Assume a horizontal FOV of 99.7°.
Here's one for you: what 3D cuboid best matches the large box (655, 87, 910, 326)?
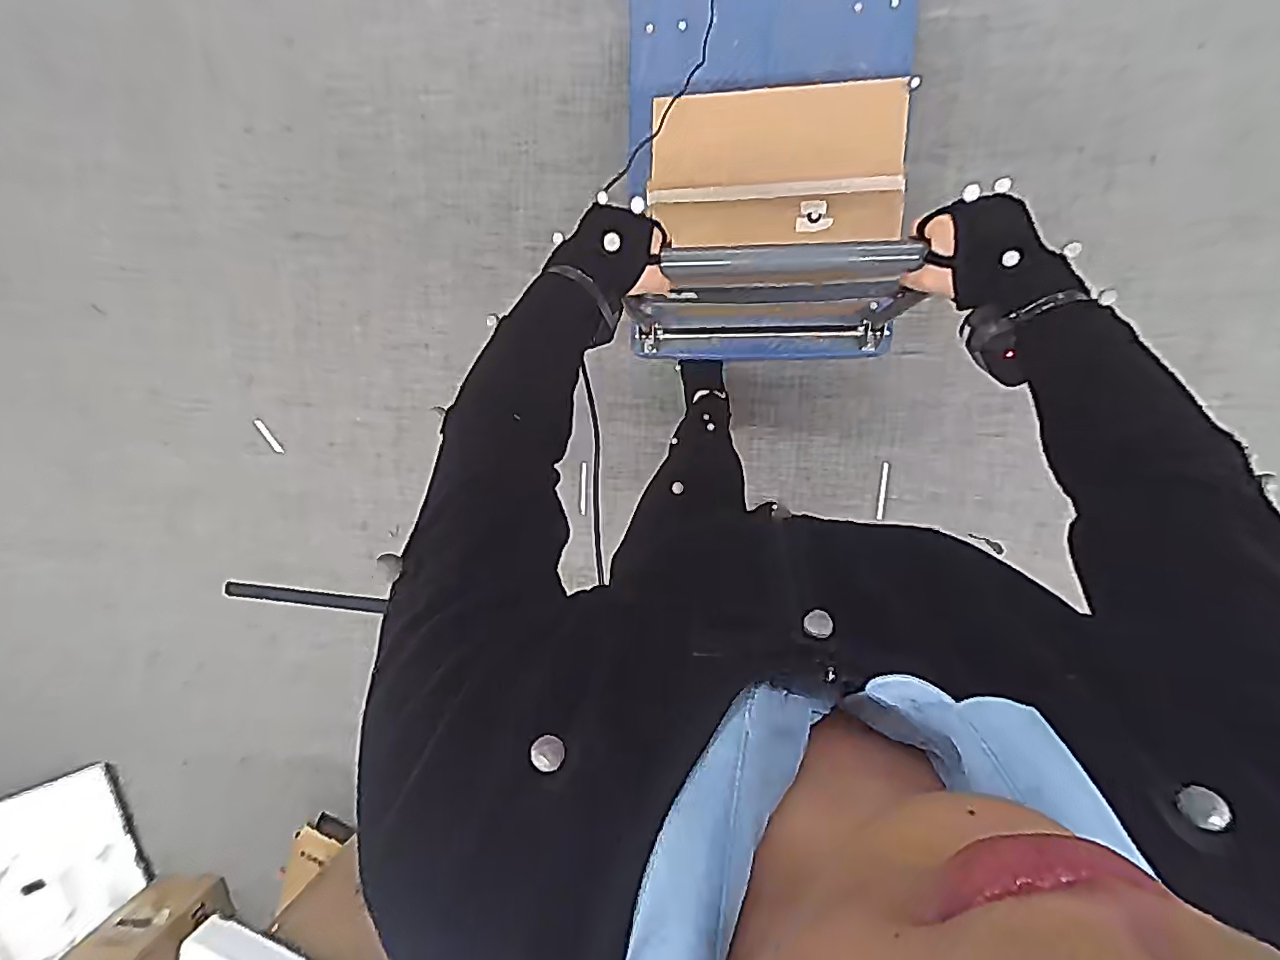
[{"bbox_3d":[0.242,-0.477,1.027,0.408,0.320,0.320,2,99,8],"label":"large box"}]
